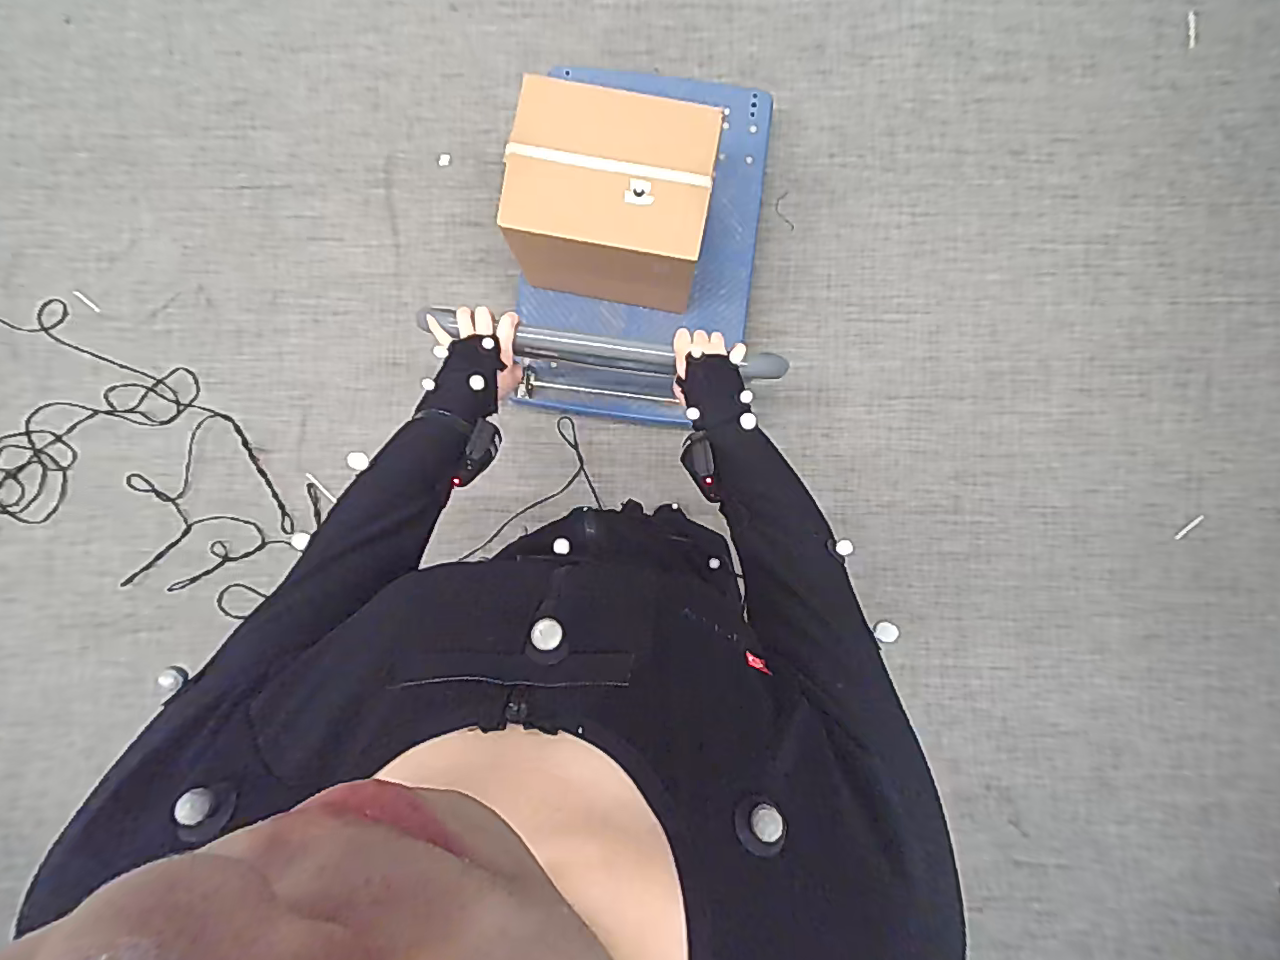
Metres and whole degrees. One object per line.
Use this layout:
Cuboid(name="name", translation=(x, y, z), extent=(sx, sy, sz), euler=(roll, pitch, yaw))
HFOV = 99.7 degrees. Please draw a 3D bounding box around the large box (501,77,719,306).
Cuboid(name="large box", translation=(-0.063, -0.623, 1.227), extent=(0.408, 0.320, 0.320), euler=(10, 88, -1))
